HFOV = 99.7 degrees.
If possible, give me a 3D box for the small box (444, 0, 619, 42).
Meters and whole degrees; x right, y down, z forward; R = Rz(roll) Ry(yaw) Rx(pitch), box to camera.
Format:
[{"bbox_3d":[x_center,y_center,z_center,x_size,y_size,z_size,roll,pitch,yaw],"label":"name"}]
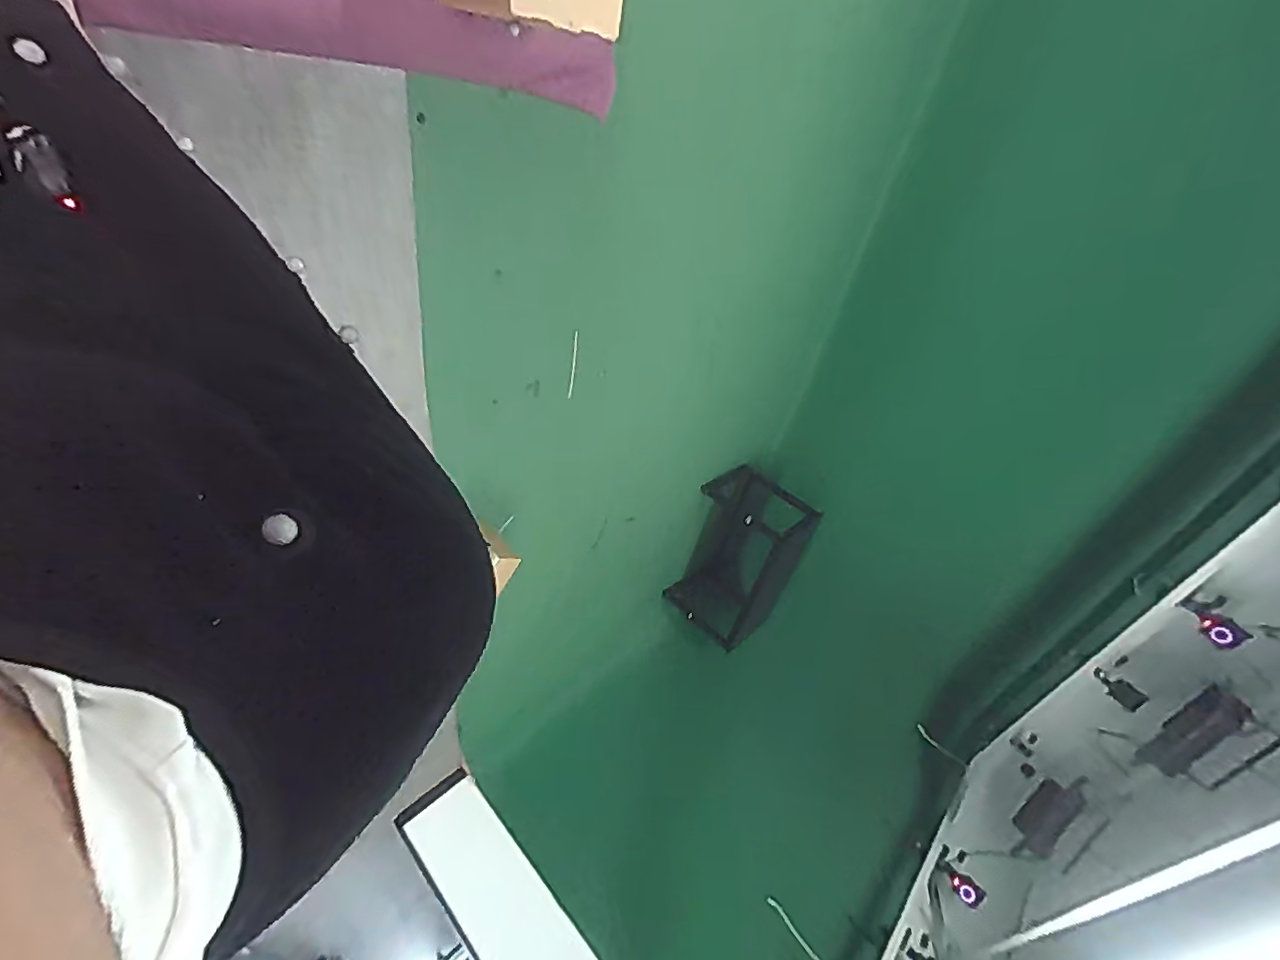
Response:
[{"bbox_3d":[-0.133,-0.653,0.639,0.168,0.176,0.179,-25,141,-39],"label":"small box"}]
